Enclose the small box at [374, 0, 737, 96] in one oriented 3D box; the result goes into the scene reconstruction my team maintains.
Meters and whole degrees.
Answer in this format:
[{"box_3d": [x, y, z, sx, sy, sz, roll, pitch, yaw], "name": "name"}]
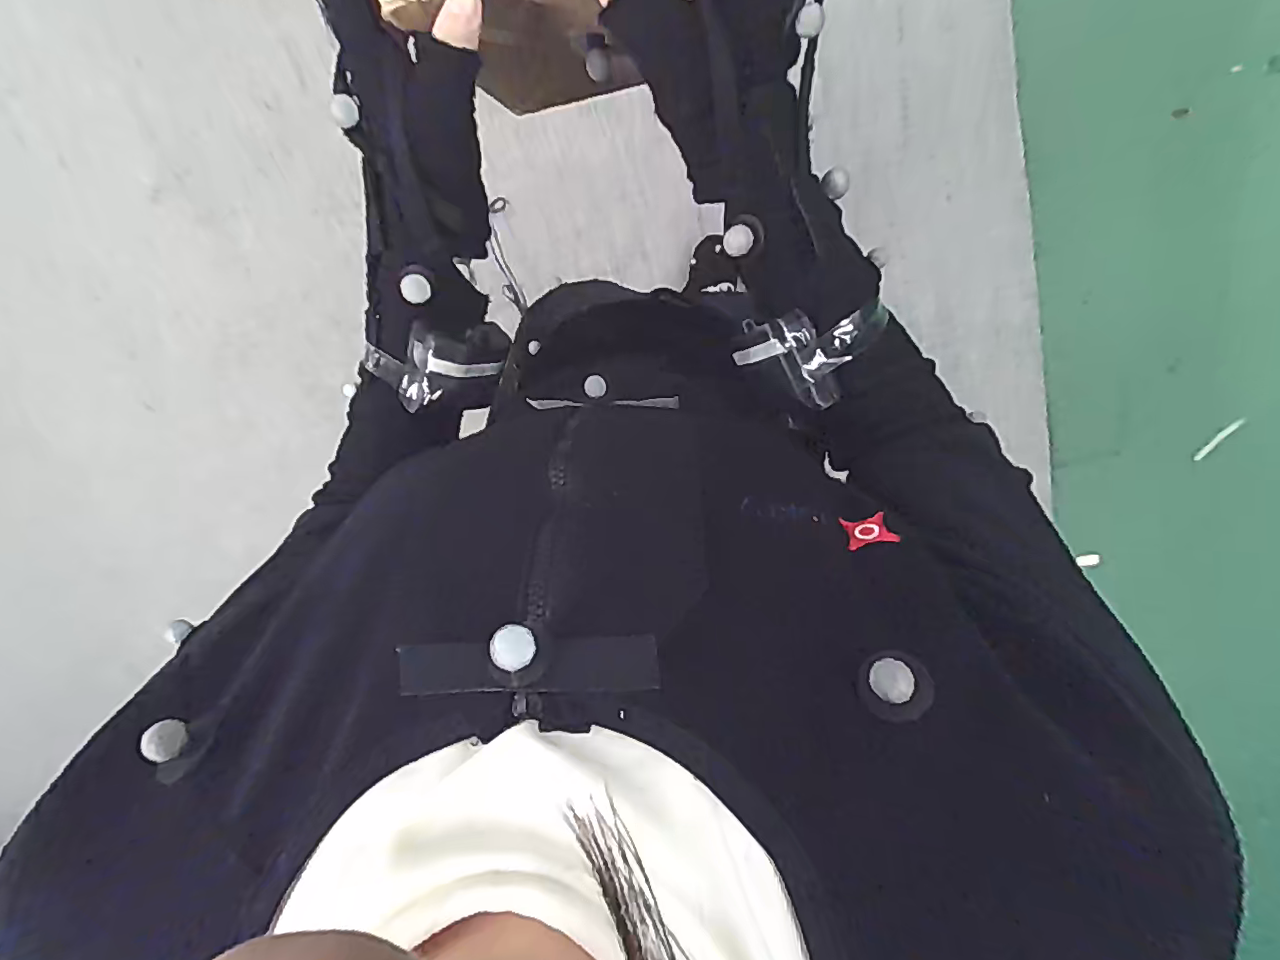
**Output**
[{"box_3d": [-0.042, -0.328, 0.277, 0.168, 0.176, 0.179, -6, 109, 13], "name": "small box"}]
